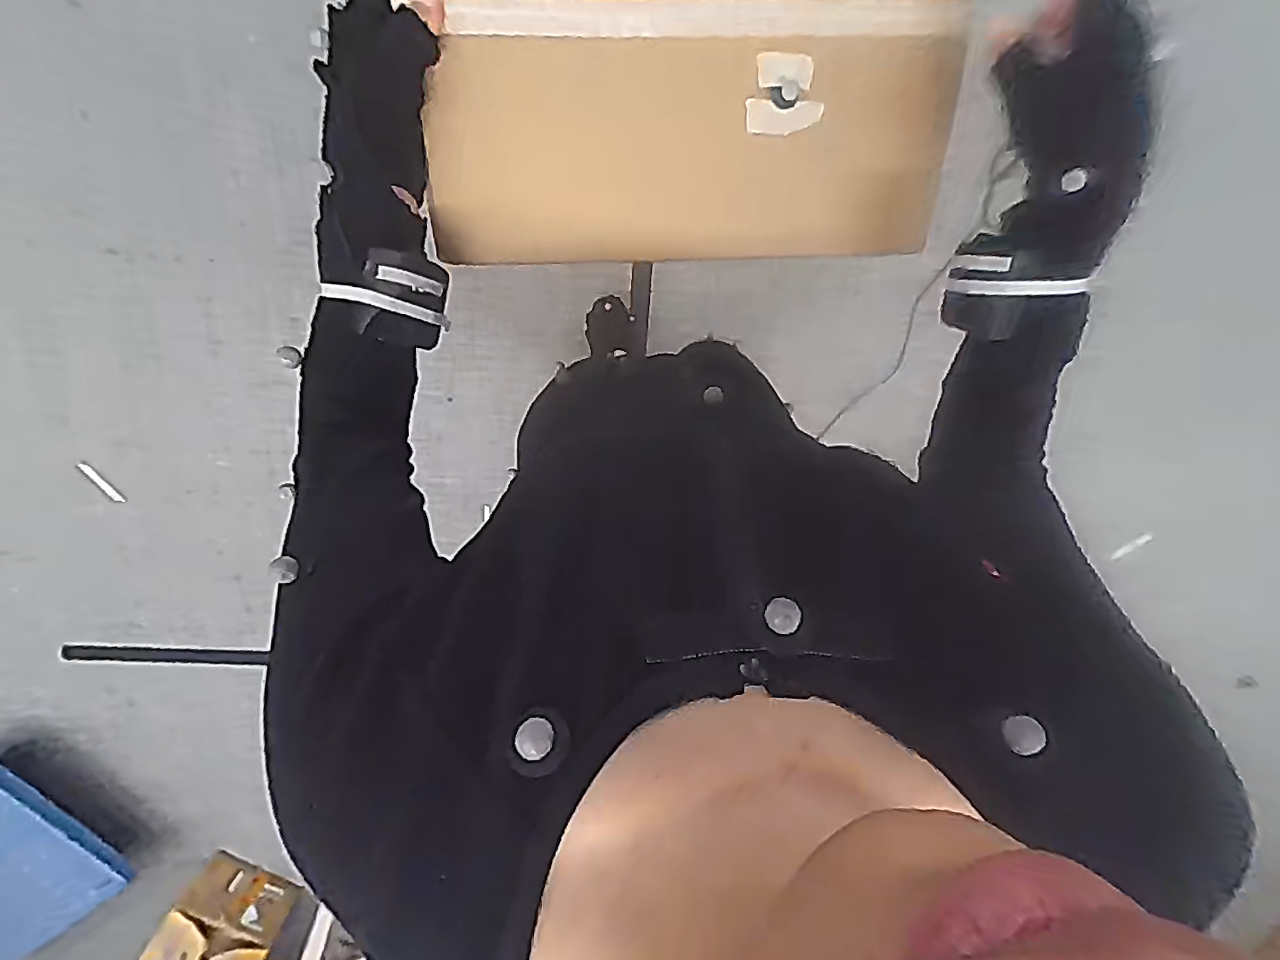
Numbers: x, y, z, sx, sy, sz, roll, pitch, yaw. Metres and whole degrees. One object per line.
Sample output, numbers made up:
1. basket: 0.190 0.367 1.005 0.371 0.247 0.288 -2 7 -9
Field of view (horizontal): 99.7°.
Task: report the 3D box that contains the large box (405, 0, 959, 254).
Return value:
1. large box: 0.019 -0.399 0.514 0.408 0.320 0.320 -4 117 -6
